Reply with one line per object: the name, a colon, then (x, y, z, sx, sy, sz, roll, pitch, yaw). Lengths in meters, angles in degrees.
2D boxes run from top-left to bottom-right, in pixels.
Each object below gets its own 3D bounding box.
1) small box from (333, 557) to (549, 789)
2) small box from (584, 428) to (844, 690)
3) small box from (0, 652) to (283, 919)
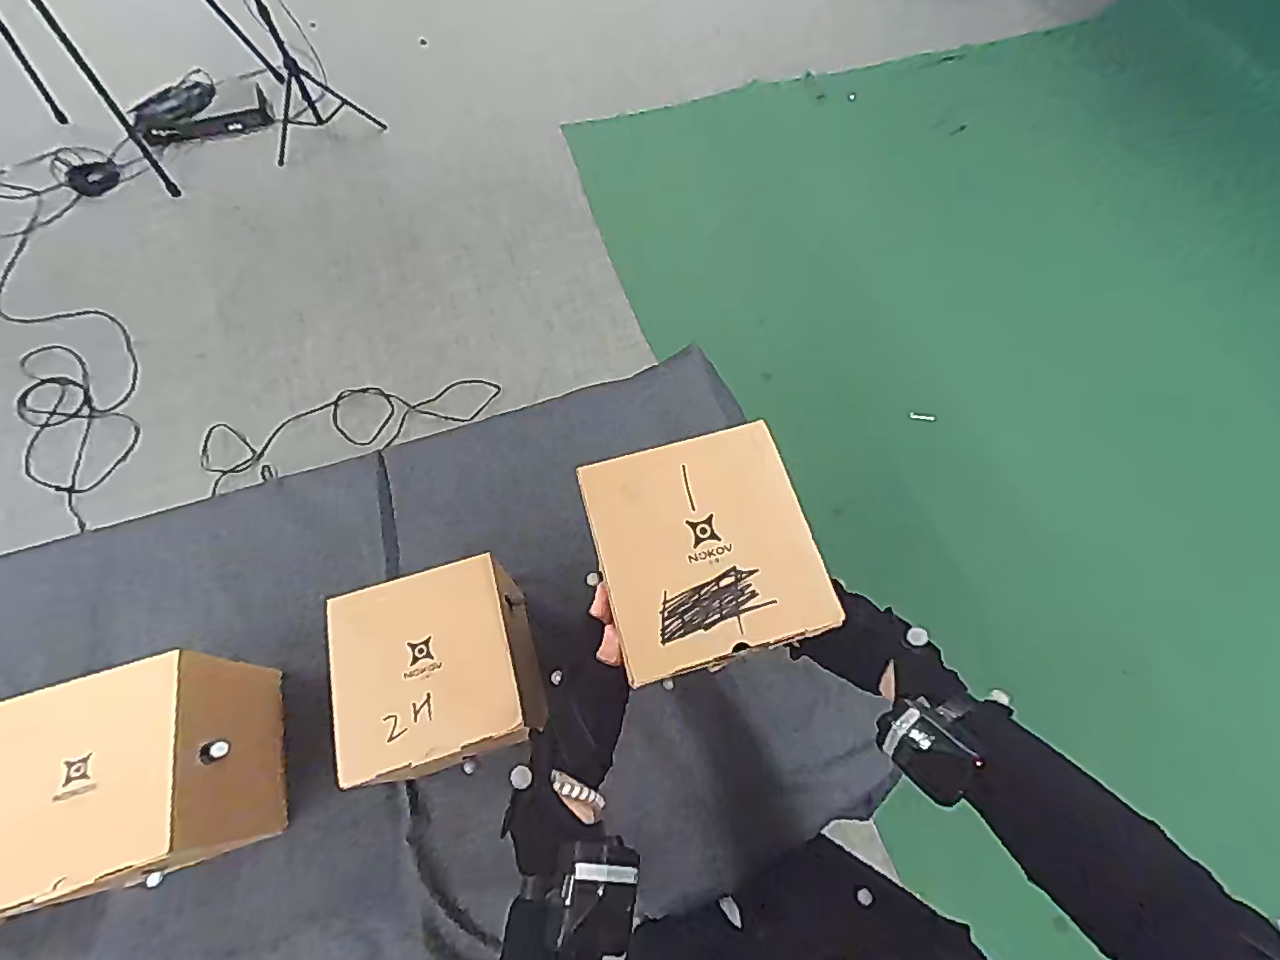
small box: (-0.203, 0.208, 0.580, 0.168, 0.176, 0.179, -15, 65, -8)
small box: (0.052, 0.080, 0.495, 0.168, 0.176, 0.179, -14, 70, -7)
small box: (-0.486, 0.293, 0.537, 0.168, 0.176, 0.179, -16, 66, -9)
